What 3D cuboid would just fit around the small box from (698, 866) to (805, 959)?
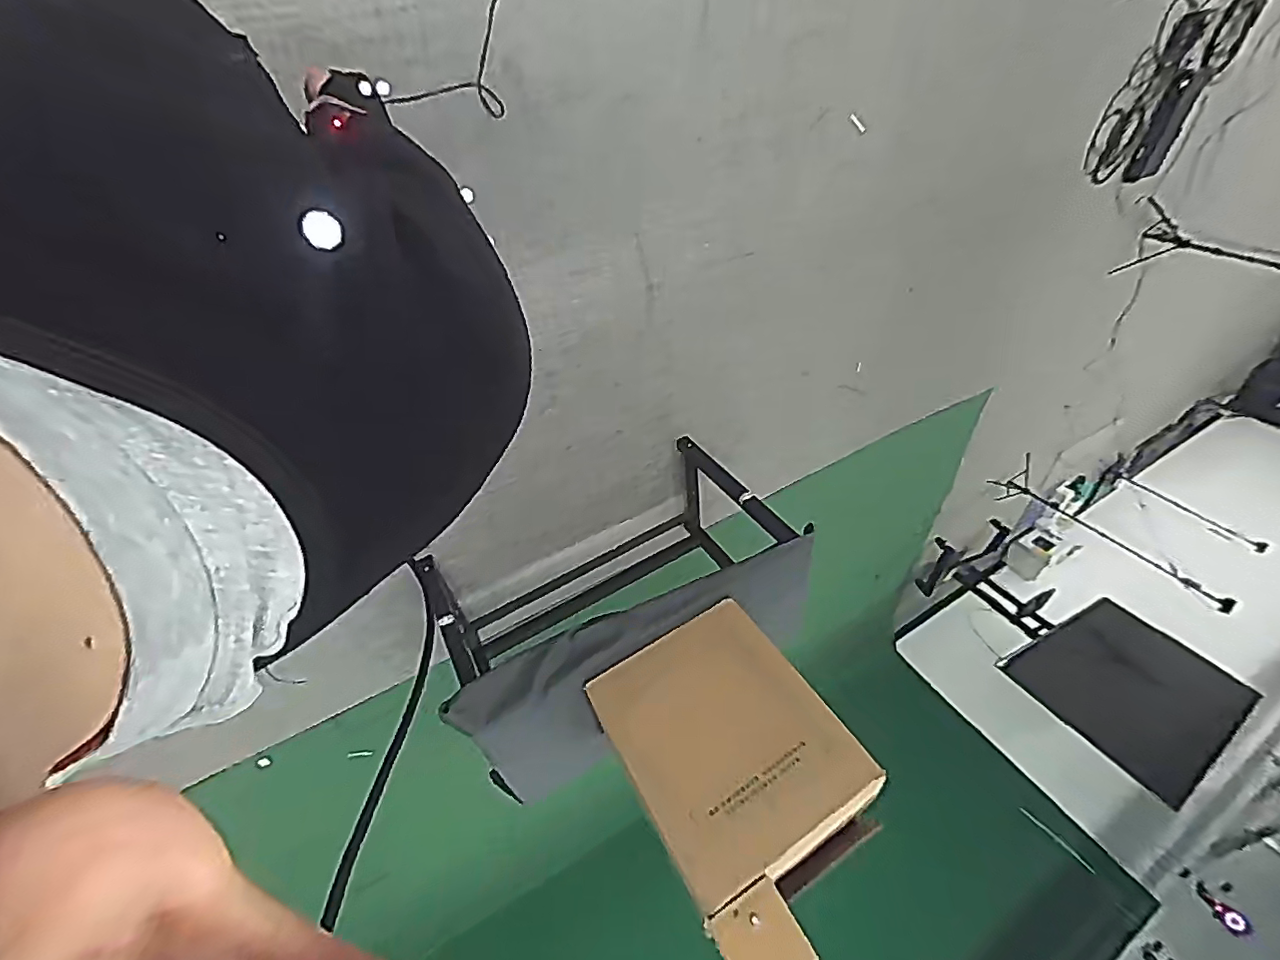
[{"bbox_3d":[0.243,1.011,1.216,0.168,0.176,0.179,-26,136,-16],"label":"small box"}]
